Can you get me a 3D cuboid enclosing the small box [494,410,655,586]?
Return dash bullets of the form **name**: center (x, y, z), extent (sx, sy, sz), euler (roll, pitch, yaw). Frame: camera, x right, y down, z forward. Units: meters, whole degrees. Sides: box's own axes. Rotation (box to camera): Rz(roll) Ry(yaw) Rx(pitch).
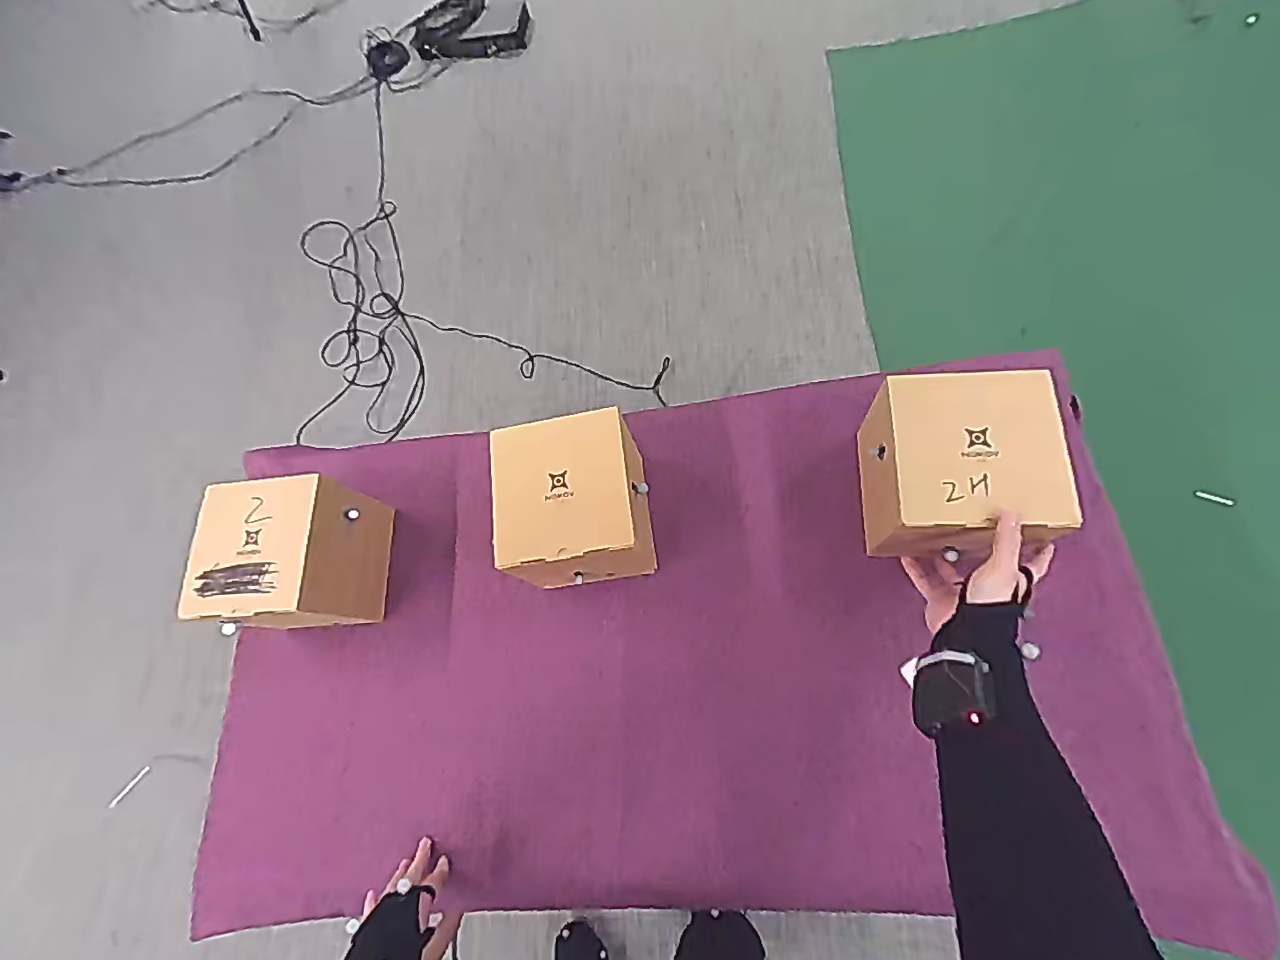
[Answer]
- **small box**: center (-0.079, 0.032, 0.706), extent (0.168, 0.176, 0.179), euler (-10, 71, 6)
